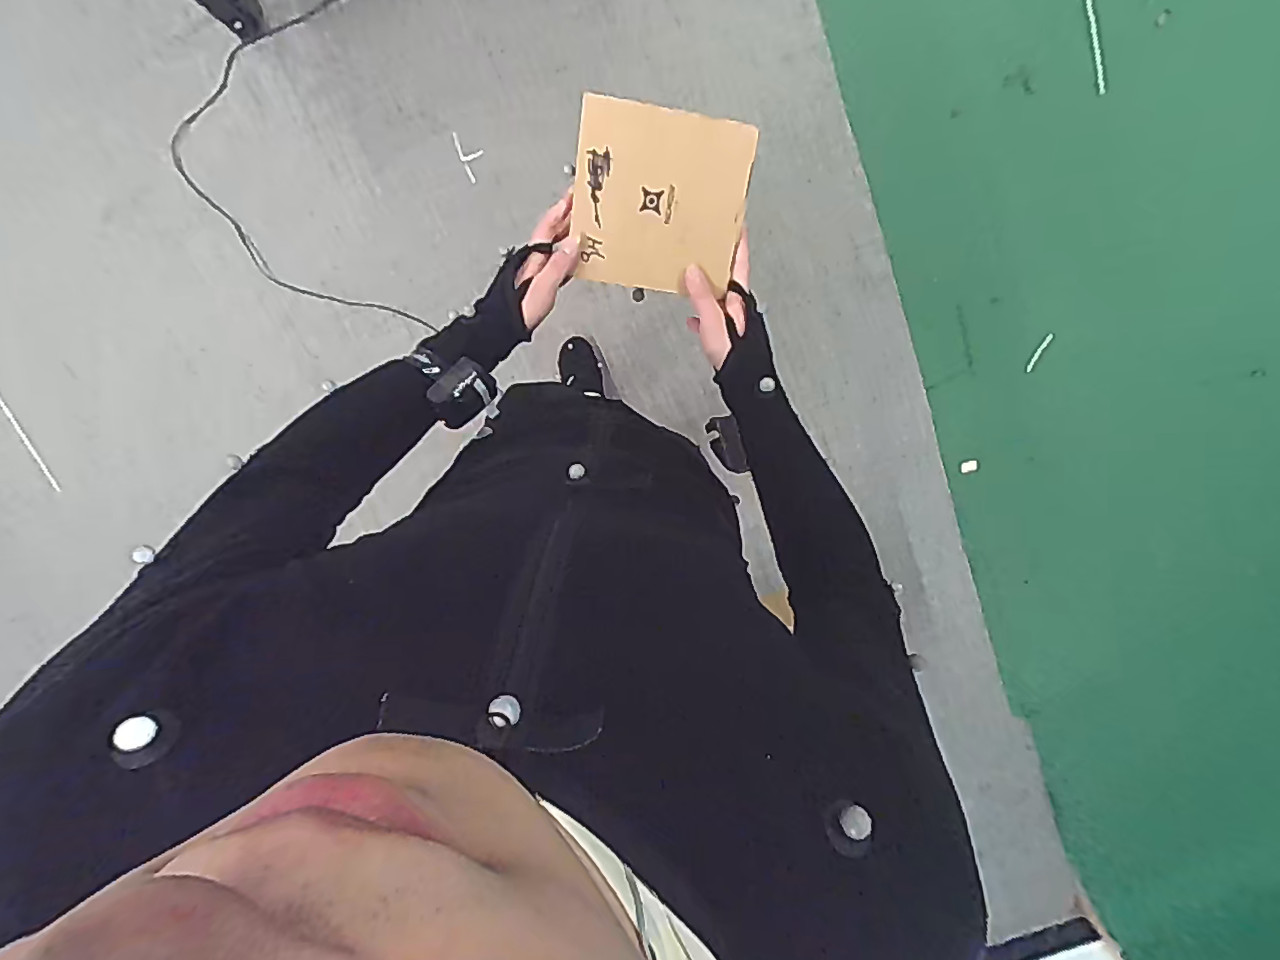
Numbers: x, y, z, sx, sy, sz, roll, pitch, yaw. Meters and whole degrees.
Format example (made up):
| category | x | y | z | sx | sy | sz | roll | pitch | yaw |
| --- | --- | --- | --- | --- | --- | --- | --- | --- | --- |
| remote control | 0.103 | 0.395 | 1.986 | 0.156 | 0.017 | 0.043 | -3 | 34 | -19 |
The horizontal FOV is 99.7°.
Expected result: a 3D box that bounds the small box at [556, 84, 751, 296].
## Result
| category | x | y | z | sx | sy | sz | roll | pitch | yaw |
| --- | --- | --- | --- | --- | --- | --- | --- | --- | --- |
| small box | 0.005 | -0.310 | 0.613 | 0.179 | 0.176 | 0.168 | 7 | 109 | -7 |
